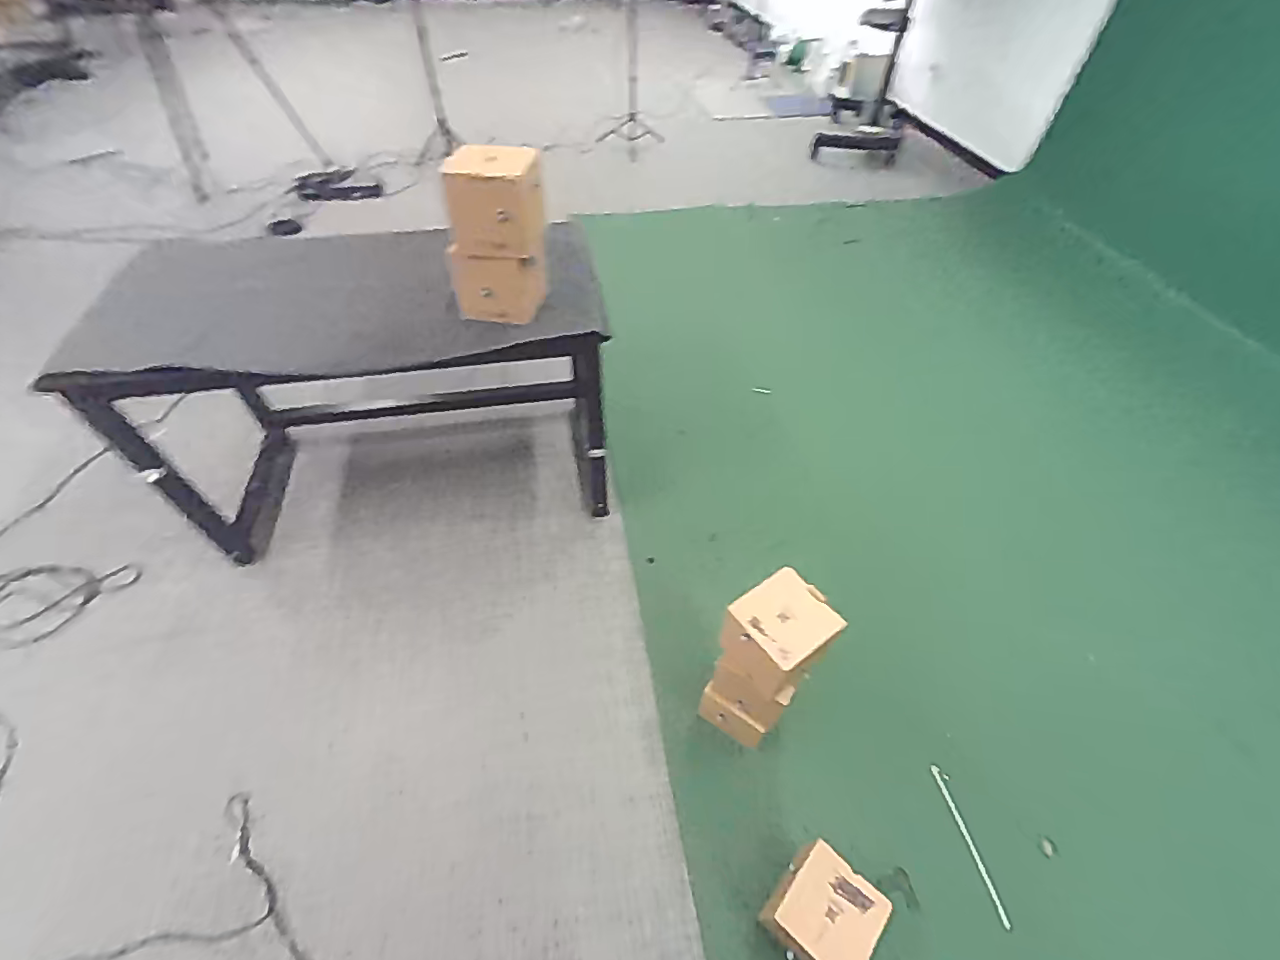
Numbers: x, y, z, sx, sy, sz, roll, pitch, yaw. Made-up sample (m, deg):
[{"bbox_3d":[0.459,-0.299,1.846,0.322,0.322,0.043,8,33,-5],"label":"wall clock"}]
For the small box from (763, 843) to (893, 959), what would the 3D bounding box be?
[{"bbox_3d":[0.367,0.878,1.088,0.168,0.176,0.179,35,58,25],"label":"small box"}]

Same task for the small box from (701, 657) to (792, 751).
[{"bbox_3d":[0.266,0.549,1.371,0.168,0.176,0.179,29,54,22],"label":"small box"}]

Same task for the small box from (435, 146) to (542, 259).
[{"bbox_3d":[-0.311,-0.590,1.154,0.168,0.176,0.179,5,47,2],"label":"small box"}]

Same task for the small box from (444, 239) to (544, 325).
[{"bbox_3d":[-0.334,-0.488,1.280,0.168,0.176,0.179,8,47,6],"label":"small box"}]

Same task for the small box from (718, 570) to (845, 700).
[{"bbox_3d":[0.286,0.326,1.132,0.179,0.176,0.168,-26,58,-22],"label":"small box"}]
